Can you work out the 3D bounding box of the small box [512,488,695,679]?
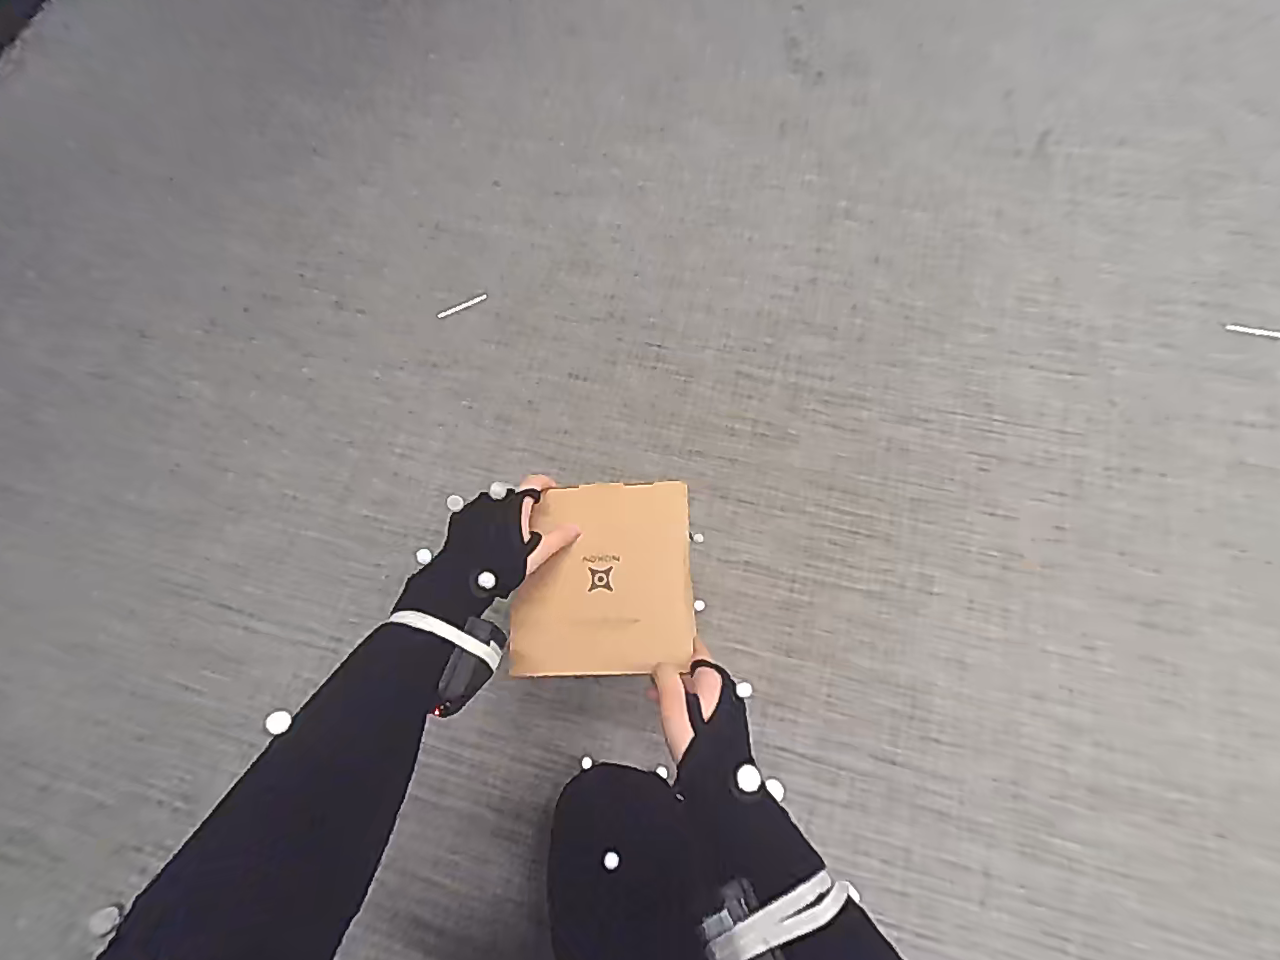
[{"bbox_3d":[-0.028,0.117,0.577,0.168,0.176,0.179,-2,73,5],"label":"small box"}]
